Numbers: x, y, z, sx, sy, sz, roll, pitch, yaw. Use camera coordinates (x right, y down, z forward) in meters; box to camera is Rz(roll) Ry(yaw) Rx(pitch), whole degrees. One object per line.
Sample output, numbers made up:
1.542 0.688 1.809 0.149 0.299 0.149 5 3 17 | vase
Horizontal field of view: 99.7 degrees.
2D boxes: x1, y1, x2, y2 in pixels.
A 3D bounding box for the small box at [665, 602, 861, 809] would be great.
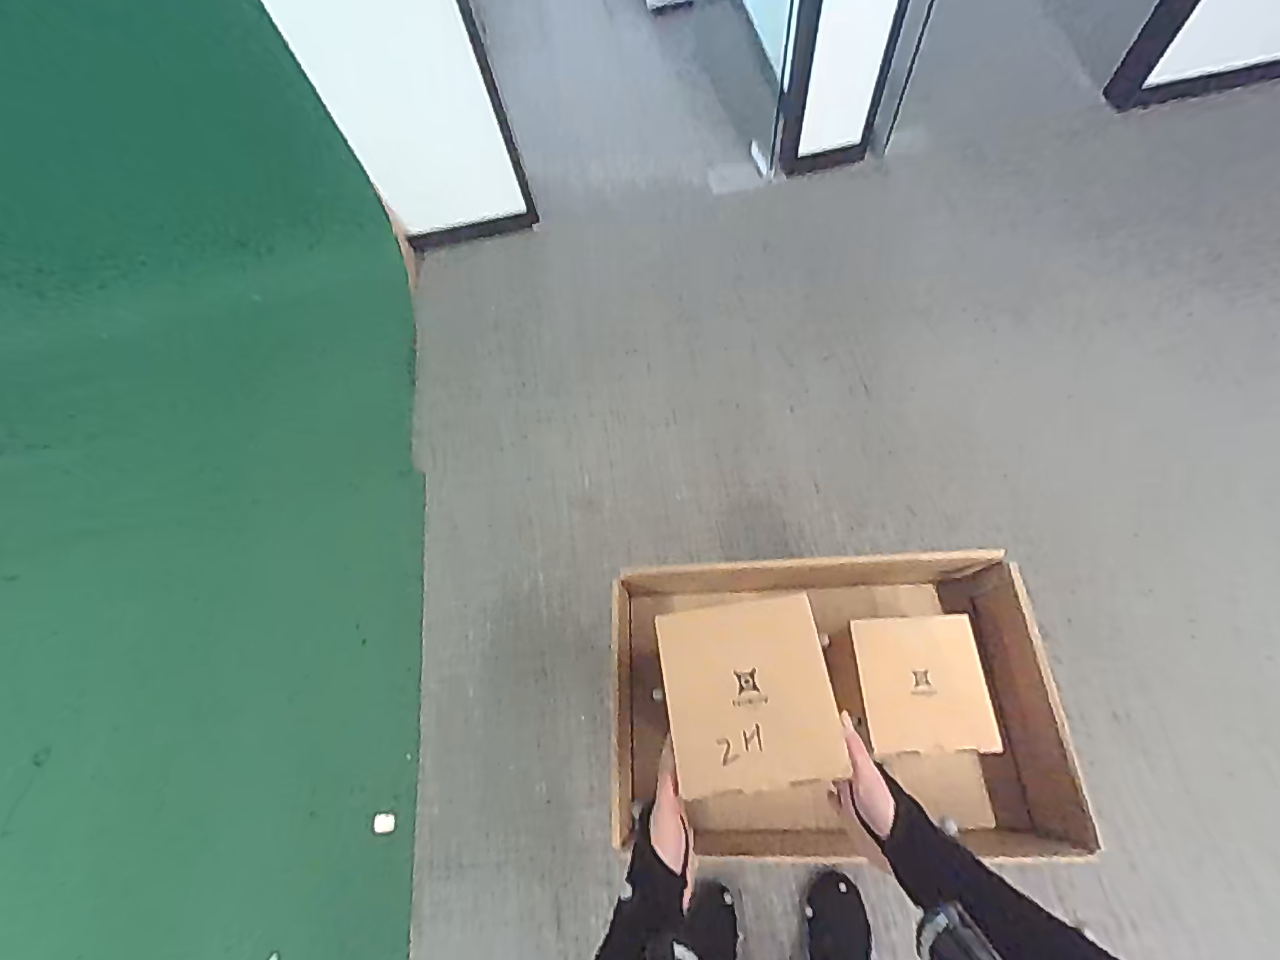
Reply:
0.121 0.247 0.605 0.168 0.176 0.179 -9 68 3 | small box
